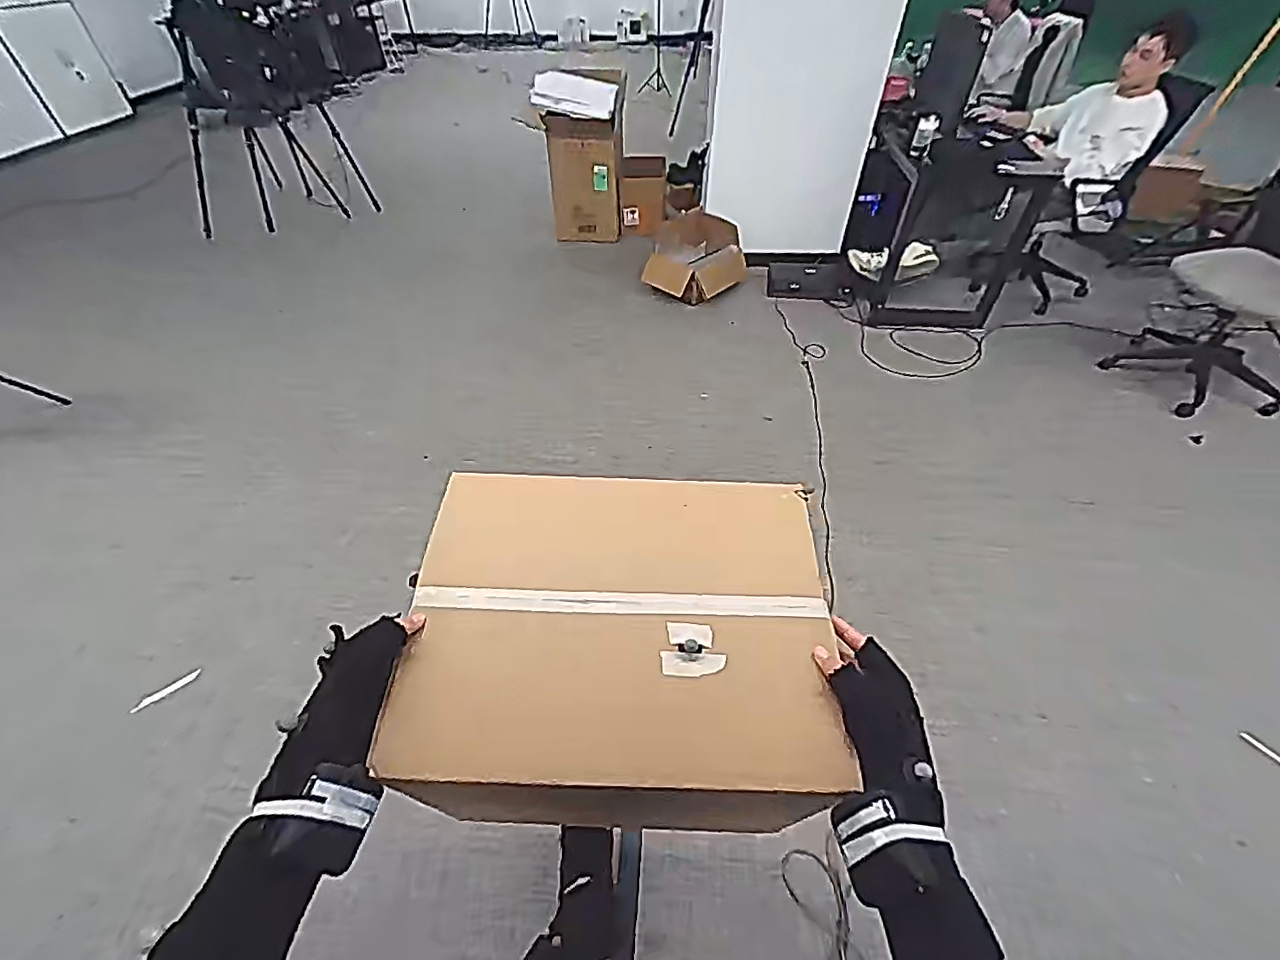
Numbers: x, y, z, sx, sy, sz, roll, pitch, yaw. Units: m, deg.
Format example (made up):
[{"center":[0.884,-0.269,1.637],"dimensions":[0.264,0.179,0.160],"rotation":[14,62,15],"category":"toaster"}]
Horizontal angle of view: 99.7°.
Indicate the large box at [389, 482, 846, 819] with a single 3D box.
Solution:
[{"center":[-0.022,0.220,0.669],"dimensions":[0.408,0.320,0.320],"rotation":[3,53,-1],"category":"large box"}]
